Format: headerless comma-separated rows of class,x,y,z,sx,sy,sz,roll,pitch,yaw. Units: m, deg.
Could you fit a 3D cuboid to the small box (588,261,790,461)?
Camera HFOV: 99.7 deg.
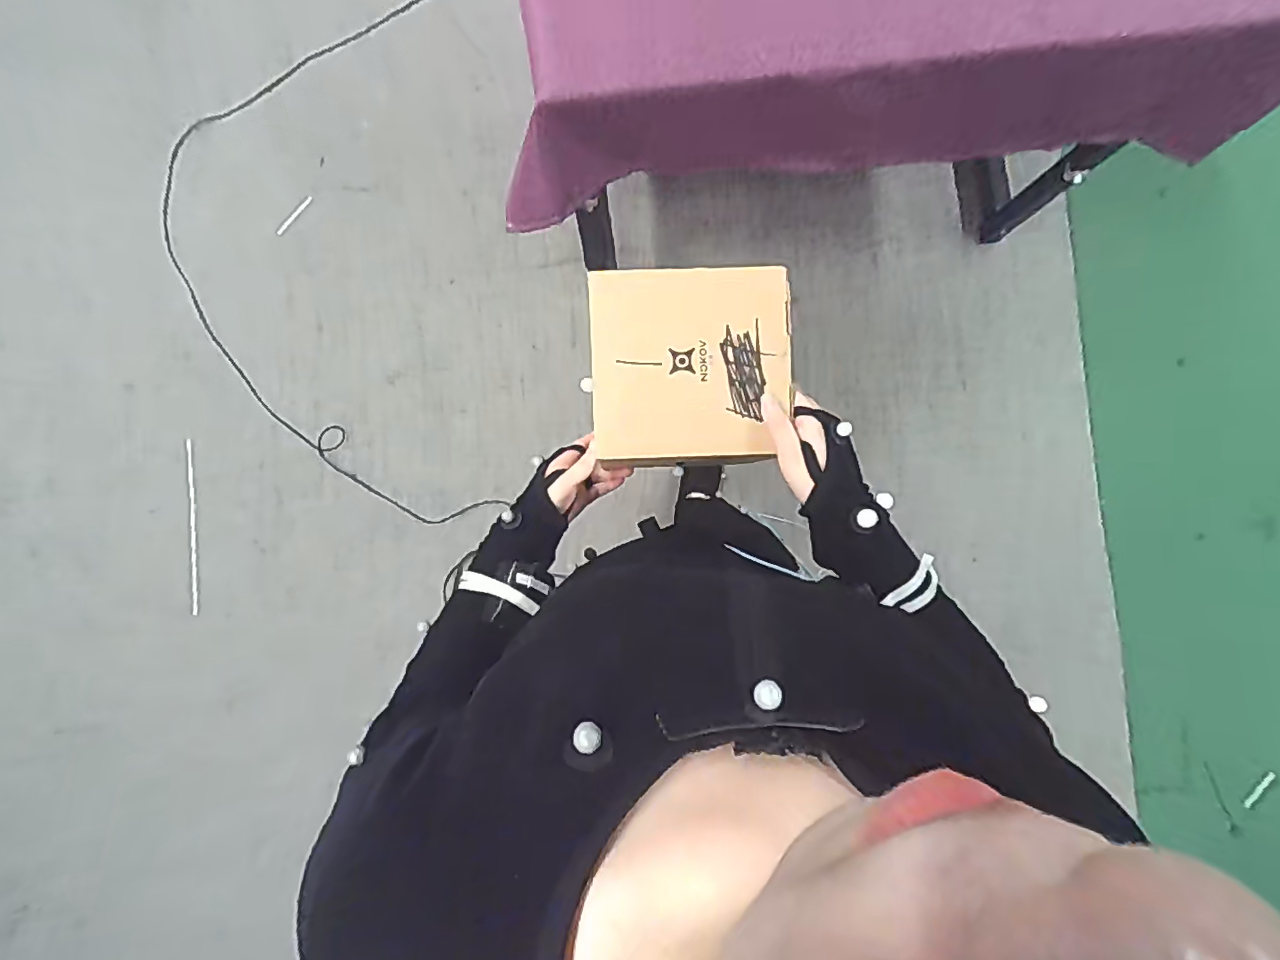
small box,0.040,-0.107,0.547,0.179,0.176,0.168,-2,89,-2
